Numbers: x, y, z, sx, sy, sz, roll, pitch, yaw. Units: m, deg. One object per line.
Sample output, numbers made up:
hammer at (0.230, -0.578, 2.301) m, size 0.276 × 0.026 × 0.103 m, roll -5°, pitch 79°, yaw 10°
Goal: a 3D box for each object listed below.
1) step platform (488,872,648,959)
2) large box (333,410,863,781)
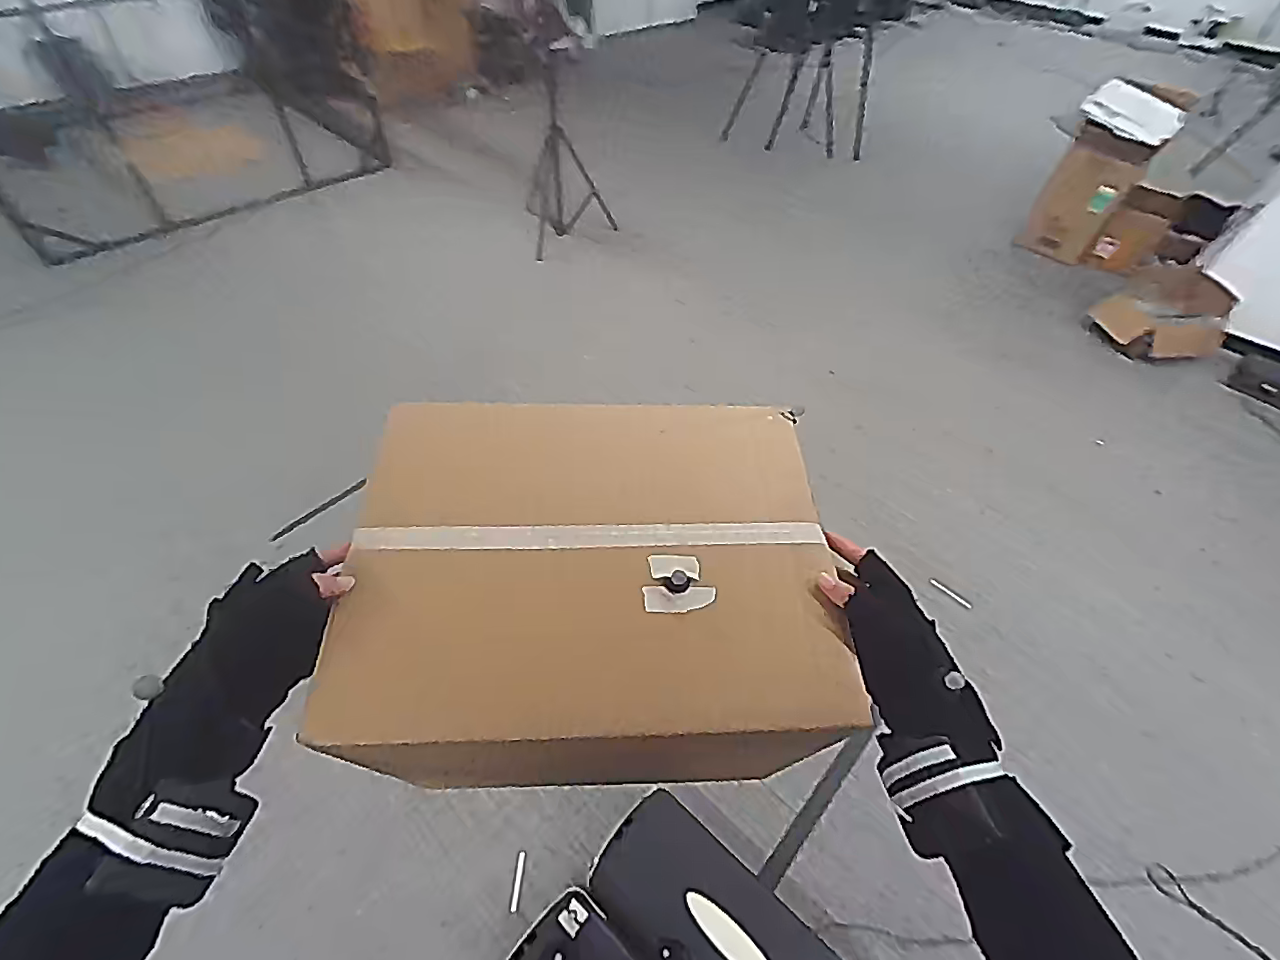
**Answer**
step platform at (-0.020, 1.167, 1.083) m, size 0.684 × 0.204 × 0.286 m, roll 34°, pitch 57°, yaw 23°
large box at (-0.041, 0.138, 0.604) m, size 0.408 × 0.320 × 0.320 m, roll 1°, pitch 56°, yaw -4°
